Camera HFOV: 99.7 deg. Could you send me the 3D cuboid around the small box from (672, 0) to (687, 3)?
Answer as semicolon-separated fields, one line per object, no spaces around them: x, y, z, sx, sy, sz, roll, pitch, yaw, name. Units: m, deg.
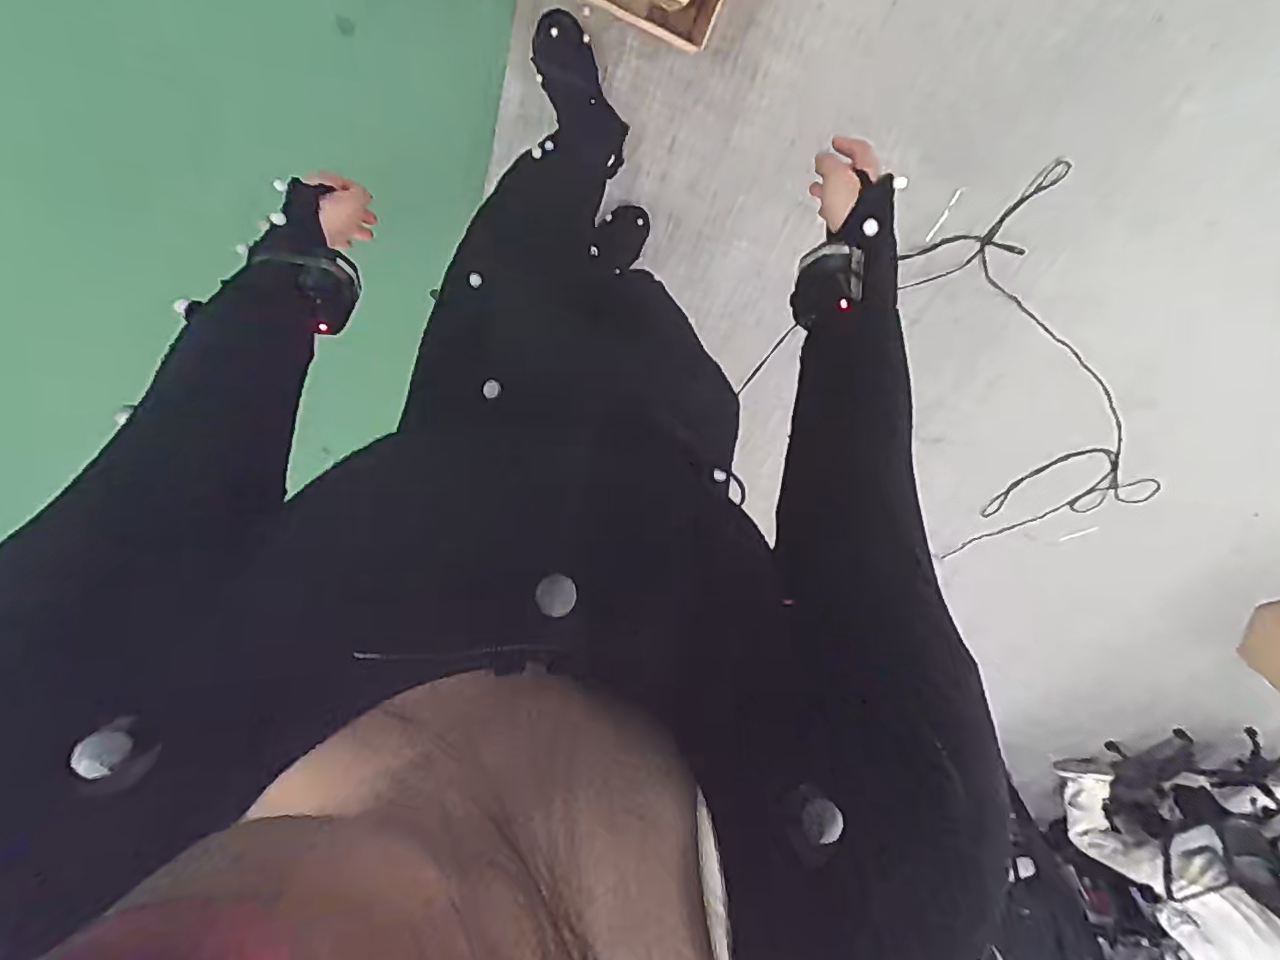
0.009;-0.754;0.690;0.179;0.176;0.168;16;126;-18;small box
